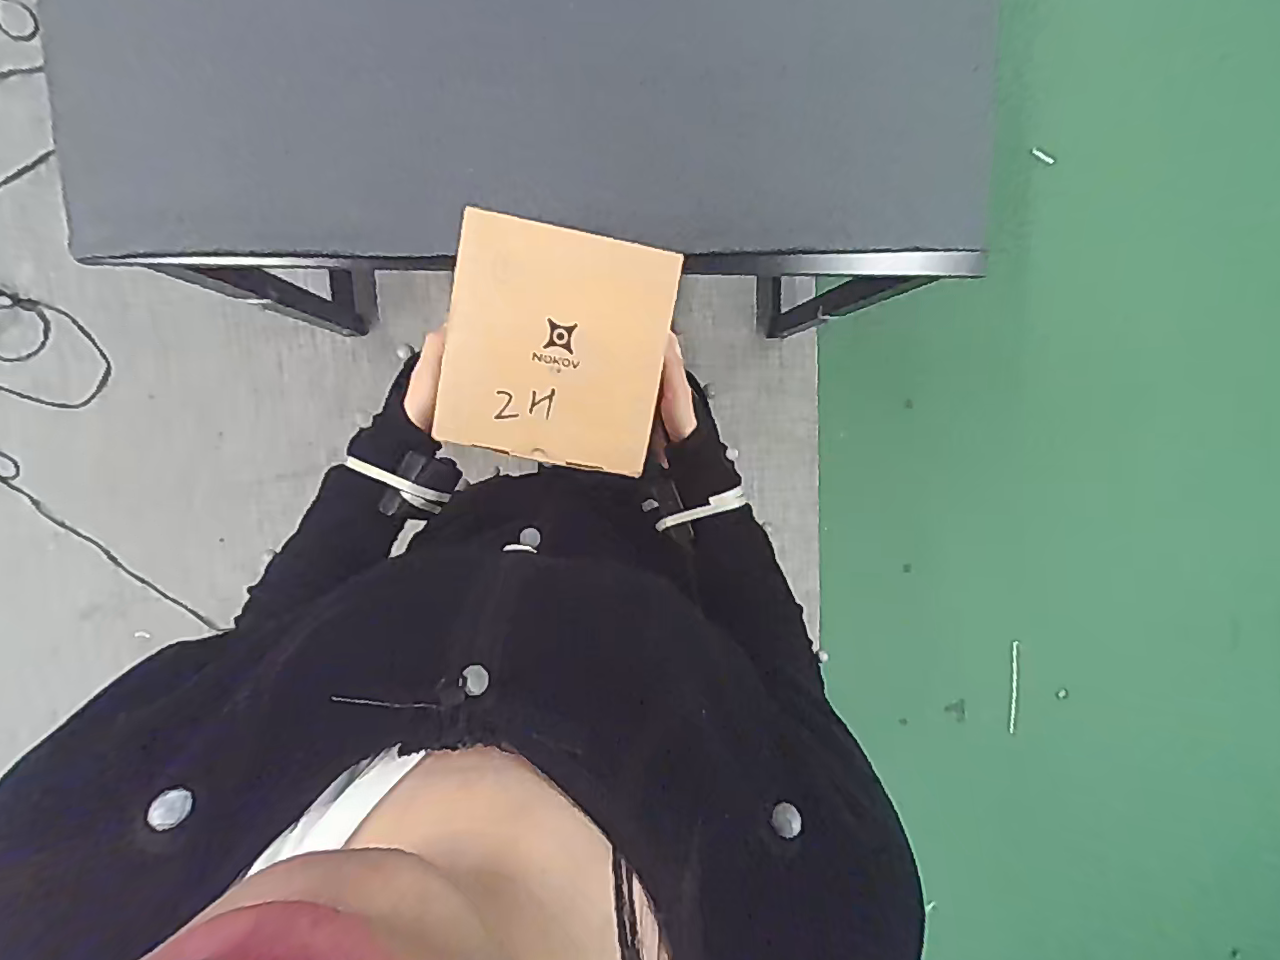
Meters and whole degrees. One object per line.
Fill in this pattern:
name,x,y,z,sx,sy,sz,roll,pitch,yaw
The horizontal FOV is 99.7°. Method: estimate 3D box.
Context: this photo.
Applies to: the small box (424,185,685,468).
small box,-0.069,-0.116,0.473,0.168,0.176,0.179,11,95,-5
